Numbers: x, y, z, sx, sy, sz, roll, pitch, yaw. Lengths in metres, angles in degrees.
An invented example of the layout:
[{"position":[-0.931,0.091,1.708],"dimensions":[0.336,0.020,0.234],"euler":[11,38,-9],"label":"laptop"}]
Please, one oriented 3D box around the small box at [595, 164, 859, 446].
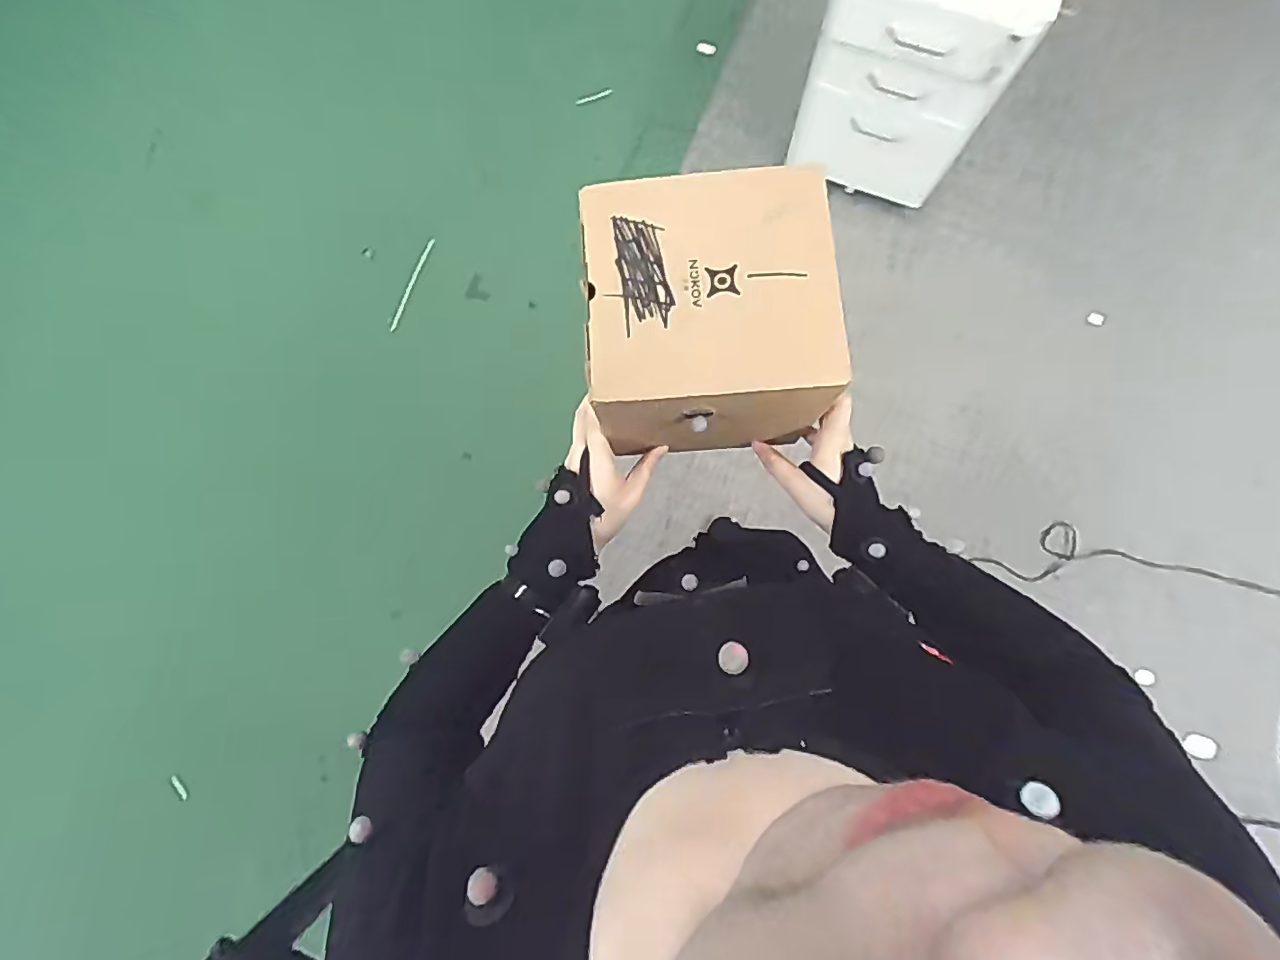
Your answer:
[{"position":[0.061,-0.128,0.454],"dimensions":[0.179,0.176,0.168],"euler":[-3,80,2],"label":"small box"}]
